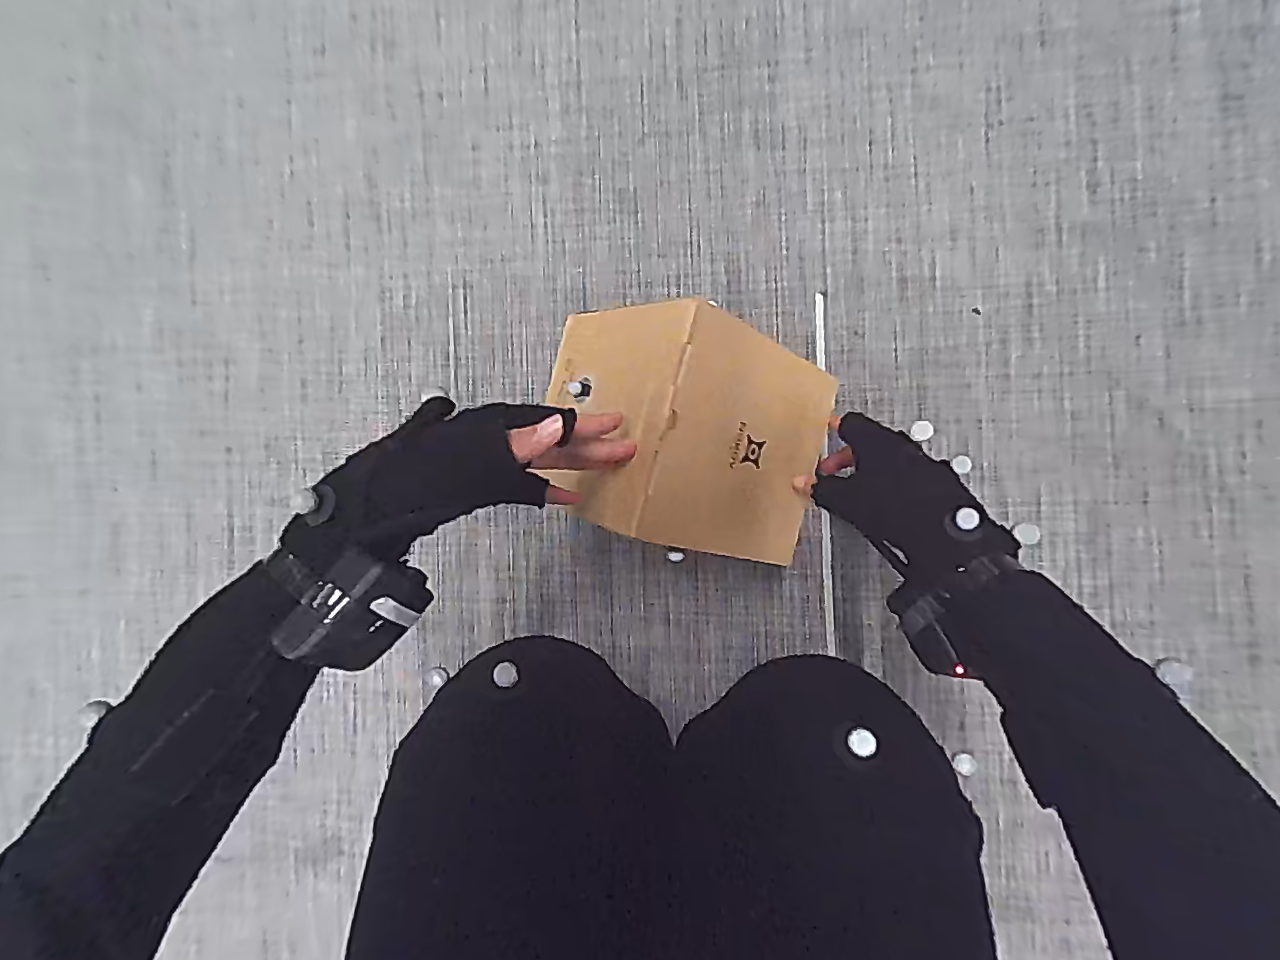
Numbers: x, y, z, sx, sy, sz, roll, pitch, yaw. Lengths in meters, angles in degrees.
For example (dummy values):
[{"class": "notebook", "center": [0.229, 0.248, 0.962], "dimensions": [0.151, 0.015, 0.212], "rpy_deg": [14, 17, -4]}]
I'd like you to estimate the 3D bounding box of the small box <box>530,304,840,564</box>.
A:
[{"class": "small box", "center": [0.035, -0.037, 0.466], "dimensions": [0.176, 0.179, 0.168], "rpy_deg": [16, 91, 50]}]
